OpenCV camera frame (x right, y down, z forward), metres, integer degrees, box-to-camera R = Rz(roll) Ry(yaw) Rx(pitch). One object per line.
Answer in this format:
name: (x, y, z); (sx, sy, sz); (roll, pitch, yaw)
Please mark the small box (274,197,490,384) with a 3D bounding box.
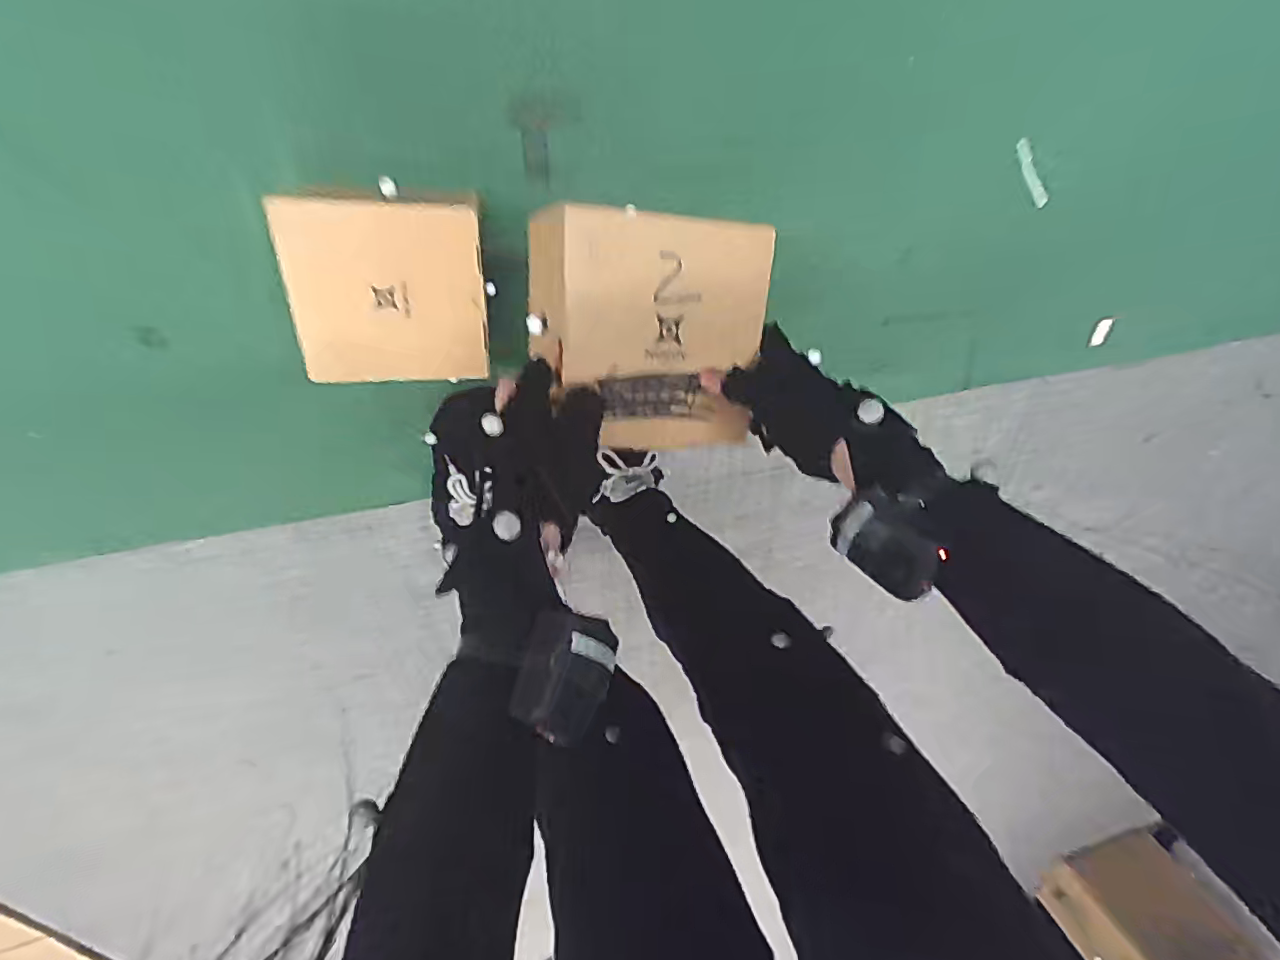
small box: (-0.261, -0.212, 0.596); (0.179, 0.176, 0.168); (-5, 121, -15)
